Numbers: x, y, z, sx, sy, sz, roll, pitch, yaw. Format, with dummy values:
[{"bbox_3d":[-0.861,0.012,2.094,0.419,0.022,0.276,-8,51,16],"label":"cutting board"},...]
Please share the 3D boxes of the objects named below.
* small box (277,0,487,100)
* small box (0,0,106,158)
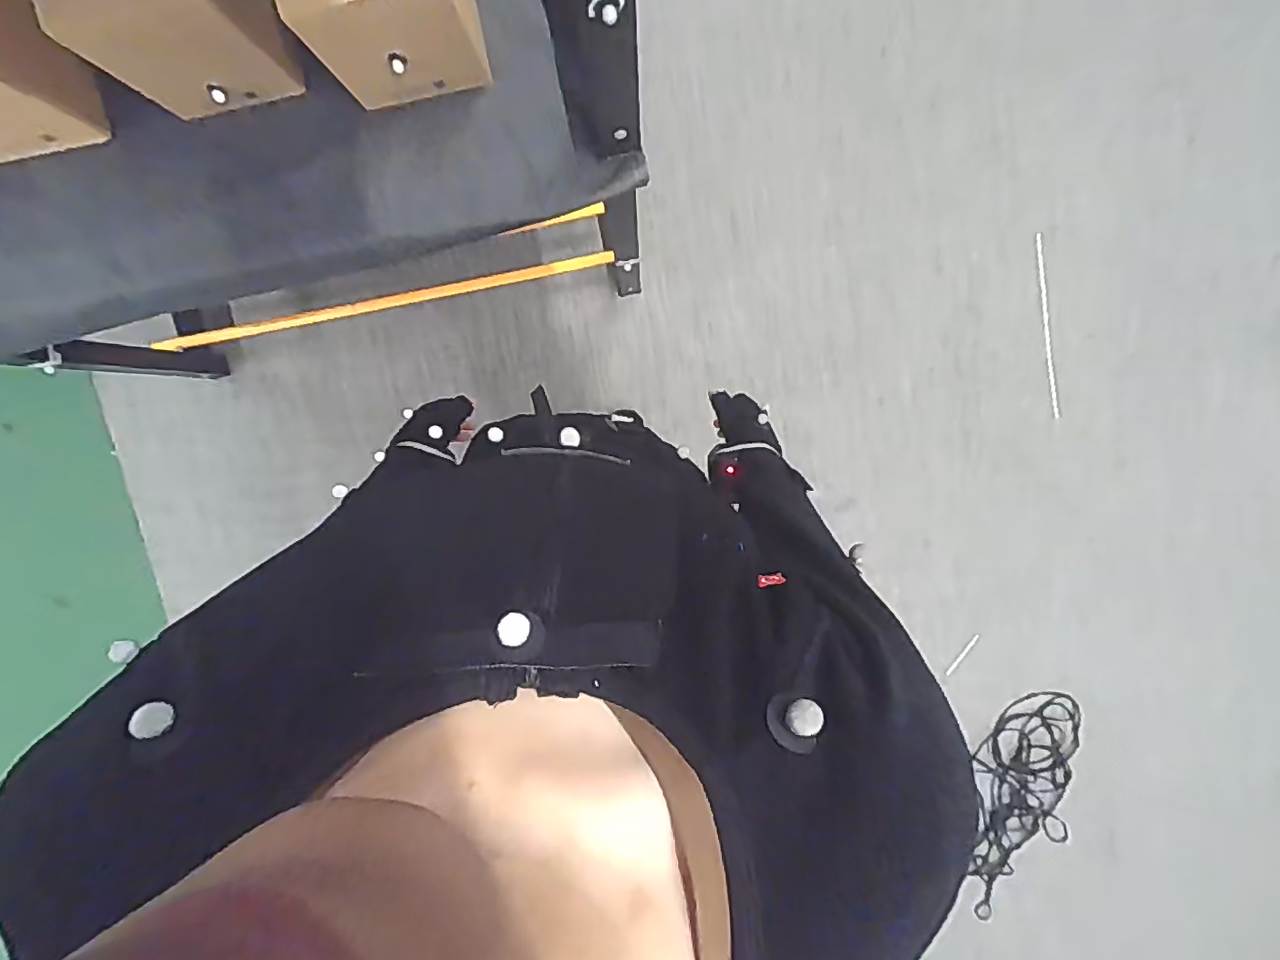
[{"bbox_3d":[-0.283,-0.555,0.591,0.168,0.176,0.179,-11,97,2],"label":"small box"},{"bbox_3d":[-0.769,-0.491,0.607,0.168,0.176,0.179,-10,97,2],"label":"small box"}]
